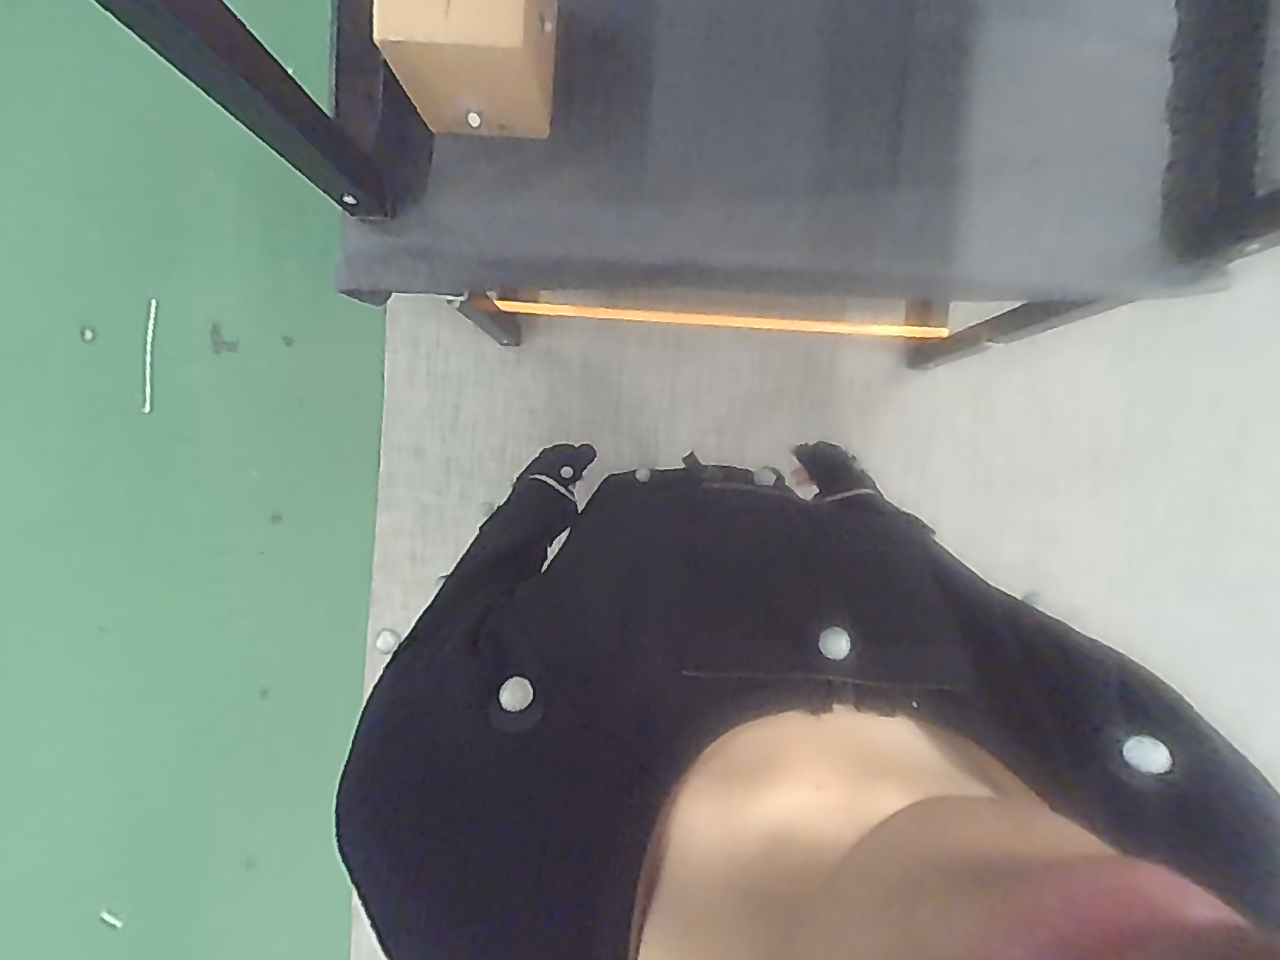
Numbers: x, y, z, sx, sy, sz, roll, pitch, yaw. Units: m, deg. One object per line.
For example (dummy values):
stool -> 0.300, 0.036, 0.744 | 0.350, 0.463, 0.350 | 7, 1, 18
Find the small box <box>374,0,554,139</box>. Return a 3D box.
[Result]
small box -> -0.203, -0.563, 0.667 | 0.168, 0.176, 0.179 | 4, 92, 0
